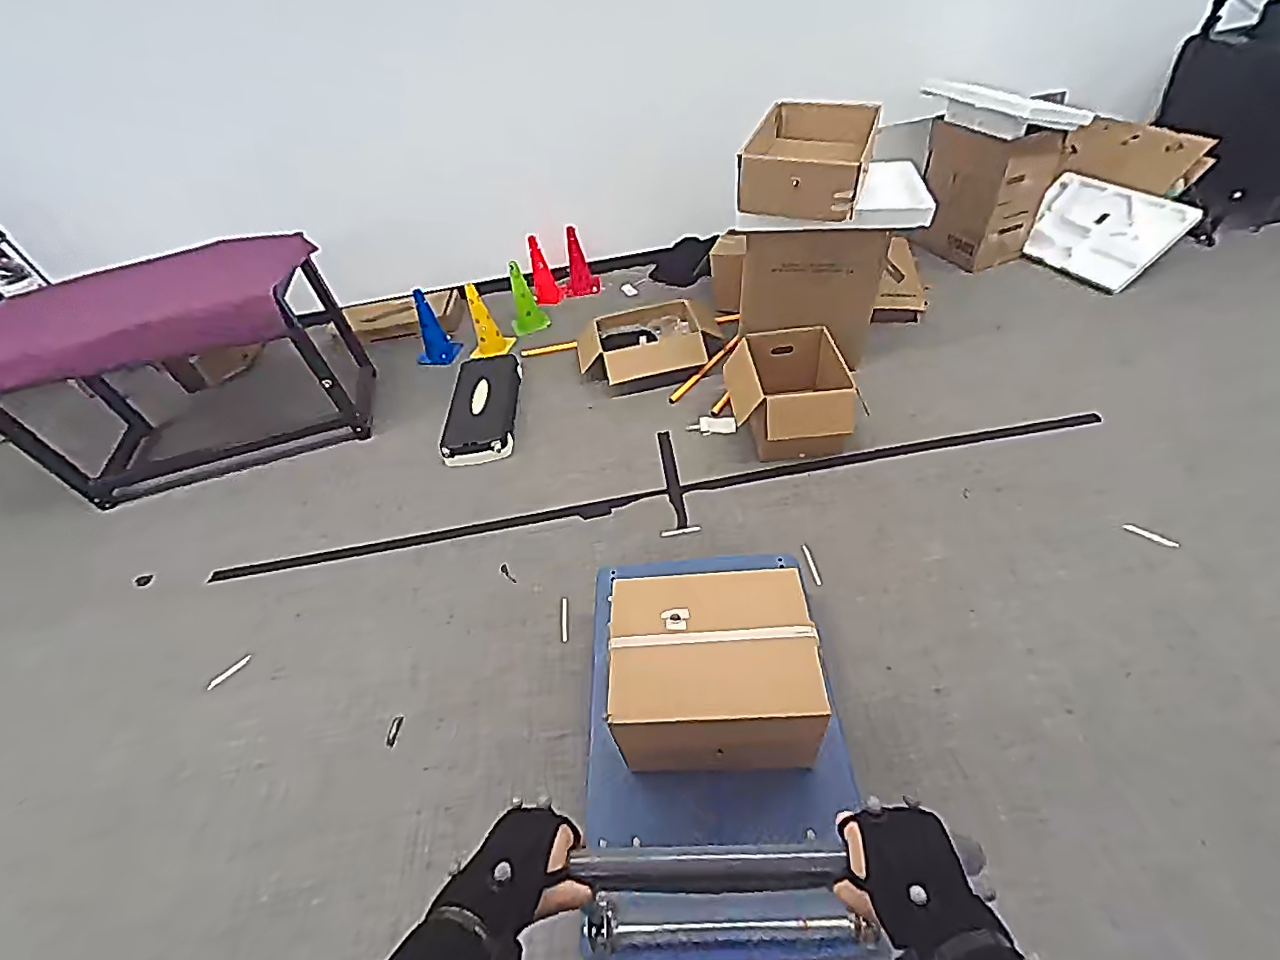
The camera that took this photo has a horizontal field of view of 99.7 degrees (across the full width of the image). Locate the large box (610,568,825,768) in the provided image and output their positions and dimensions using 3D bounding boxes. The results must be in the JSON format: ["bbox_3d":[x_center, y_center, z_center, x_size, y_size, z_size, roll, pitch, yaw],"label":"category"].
[{"bbox_3d":[0.160,0.425,1.201,0.408,0.320,0.320,-6,45,6],"label":"large box"}]
